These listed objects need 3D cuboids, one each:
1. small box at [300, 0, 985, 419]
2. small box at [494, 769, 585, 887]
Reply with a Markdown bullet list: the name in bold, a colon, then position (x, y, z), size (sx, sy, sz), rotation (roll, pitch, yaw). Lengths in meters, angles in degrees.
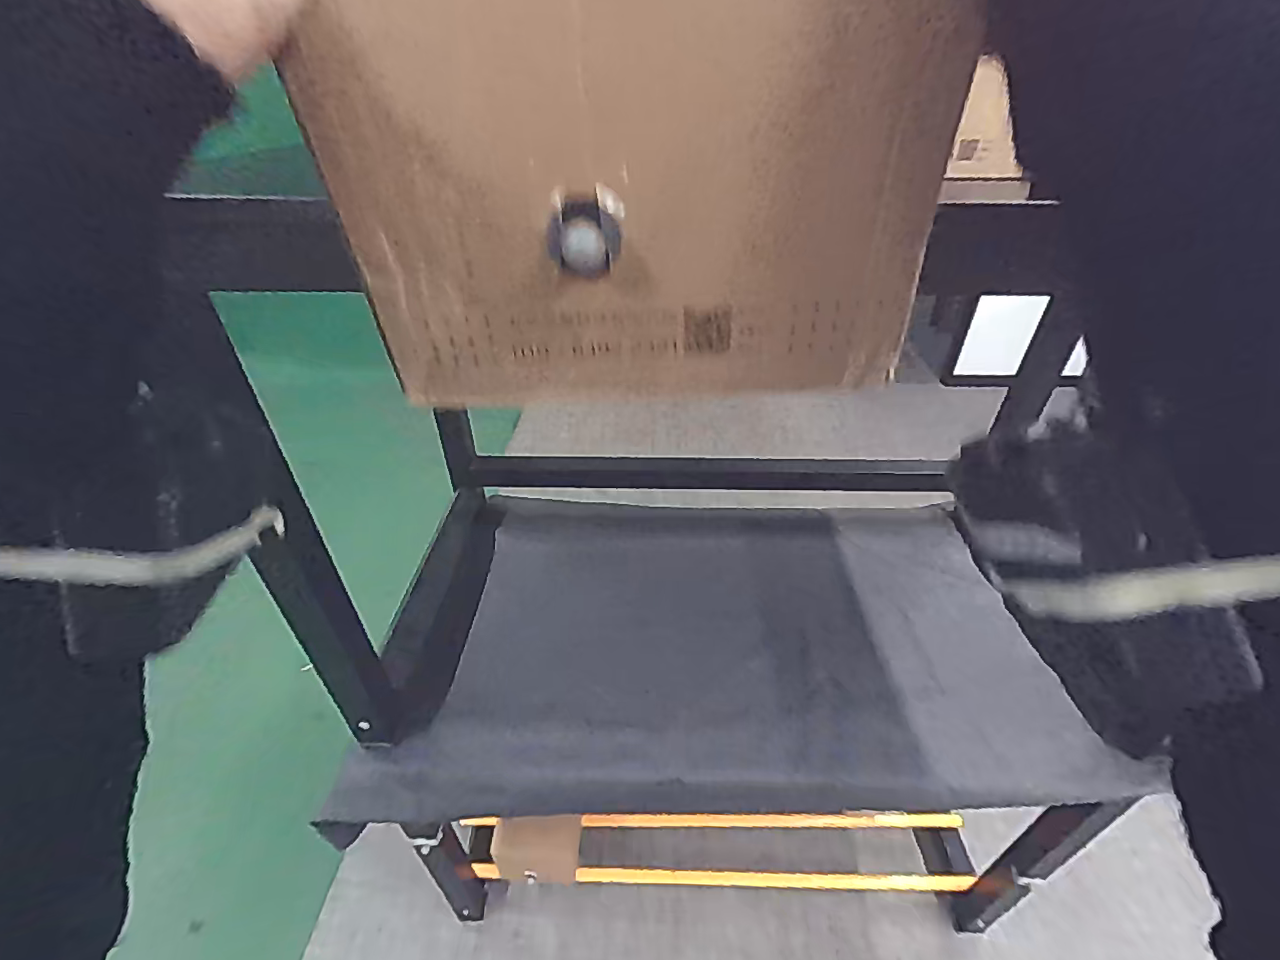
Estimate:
- **small box**: position (-0.002, -0.139, 0.206), size (0.168, 0.176, 0.179), rotation (-2, 42, 2)
- **small box**: position (-0.216, 0.777, 1.210), size (0.168, 0.176, 0.179), rotation (0, 37, 1)
